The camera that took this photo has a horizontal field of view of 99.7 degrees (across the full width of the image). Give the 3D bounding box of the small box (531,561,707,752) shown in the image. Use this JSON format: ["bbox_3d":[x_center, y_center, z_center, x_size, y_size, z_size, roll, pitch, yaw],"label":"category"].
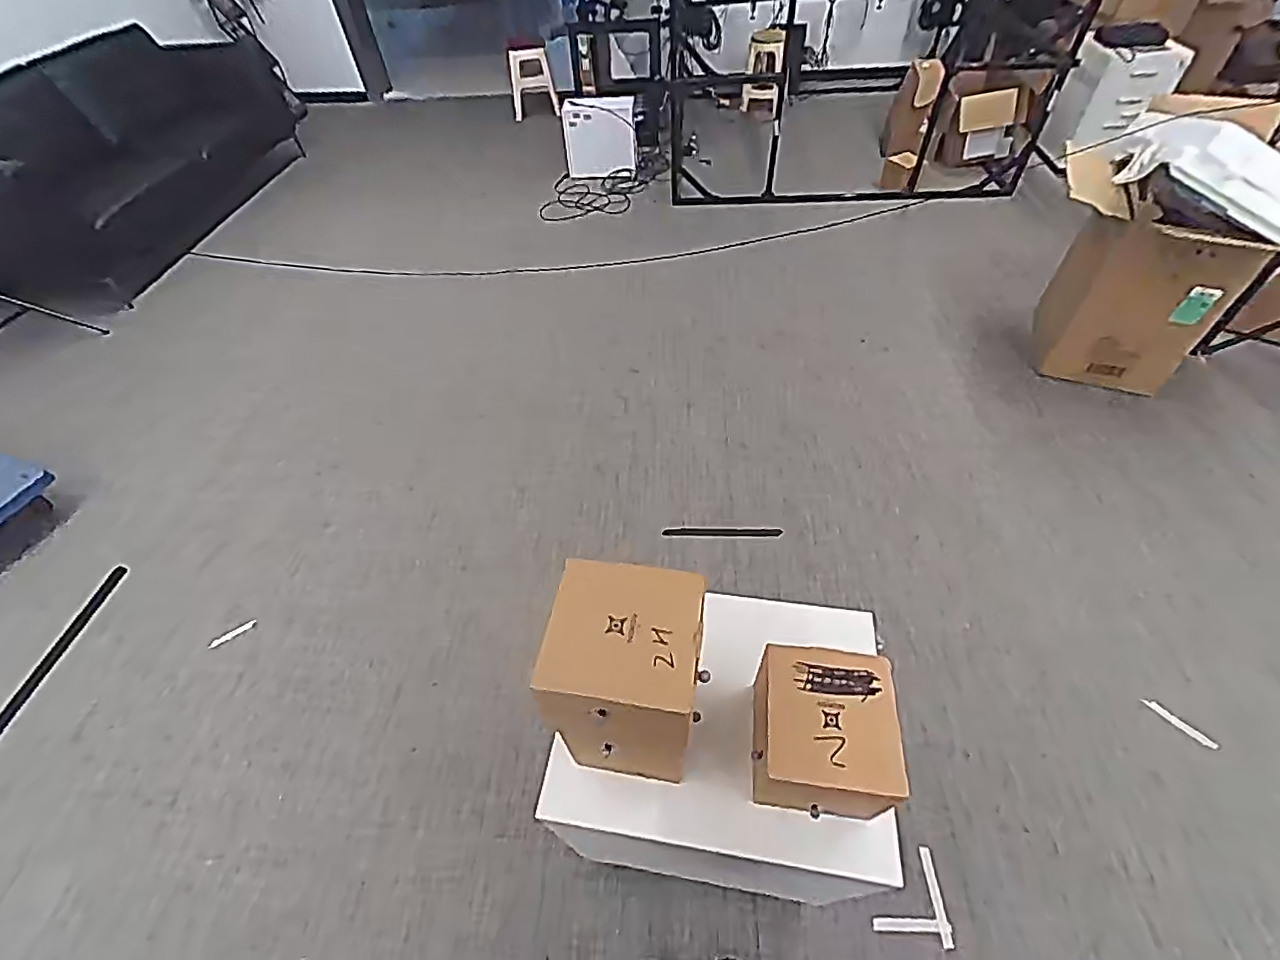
[{"bbox_3d":[-0.014,0.222,0.671,0.179,0.176,0.168,6,51,8],"label":"small box"}]

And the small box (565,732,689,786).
[{"bbox_3d":[-0.005,0.325,0.800,0.168,0.176,0.179,6,50,9],"label":"small box"}]
